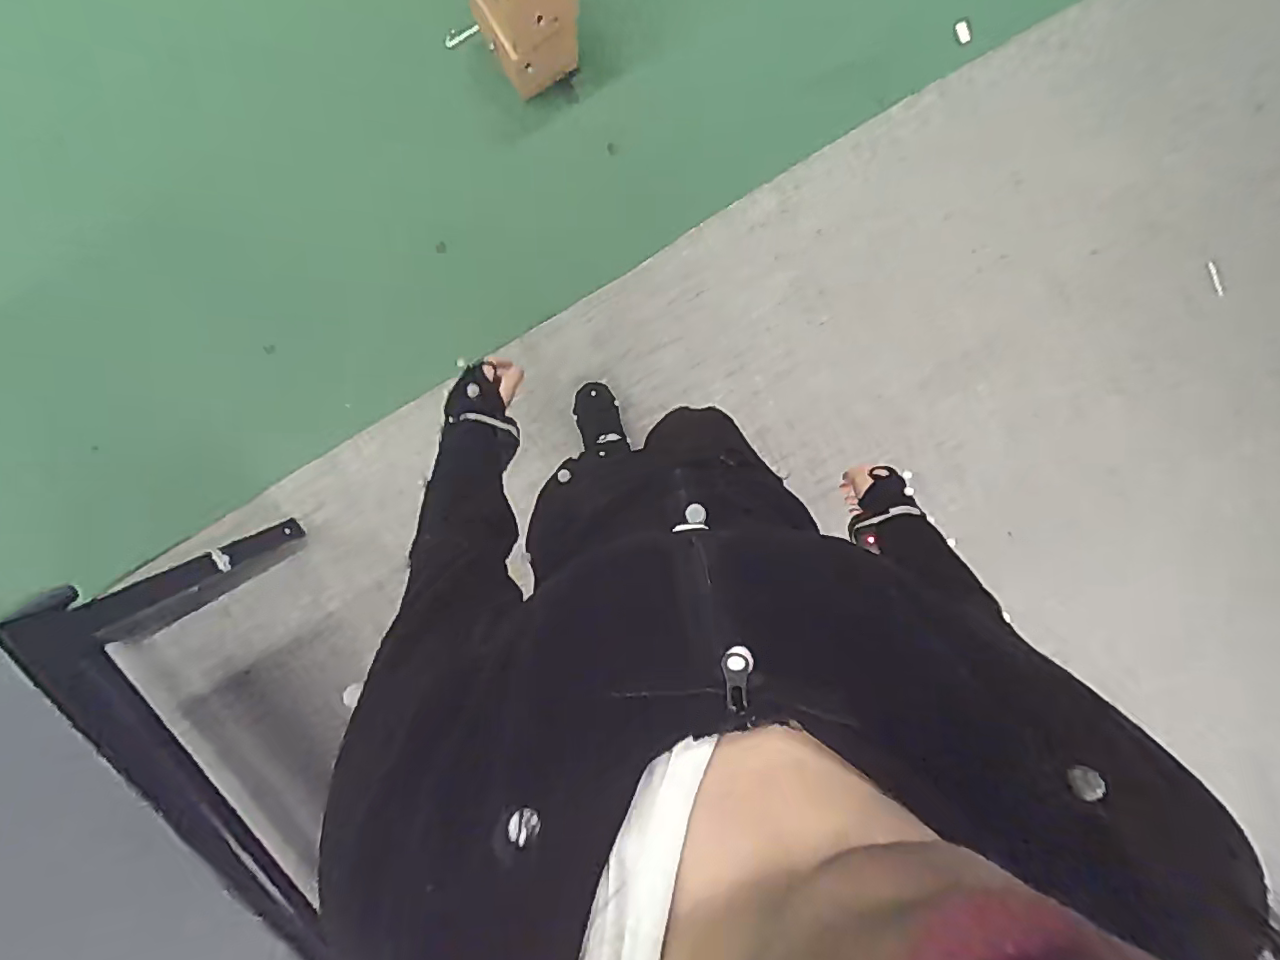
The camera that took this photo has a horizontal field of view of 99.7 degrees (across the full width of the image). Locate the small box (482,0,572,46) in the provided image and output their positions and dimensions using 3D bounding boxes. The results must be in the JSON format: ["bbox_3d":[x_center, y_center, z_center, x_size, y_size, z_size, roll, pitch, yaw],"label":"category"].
[{"bbox_3d":[-0.246,-1.018,1.054,0.168,0.176,0.179,-36,100,0],"label":"small box"}]
